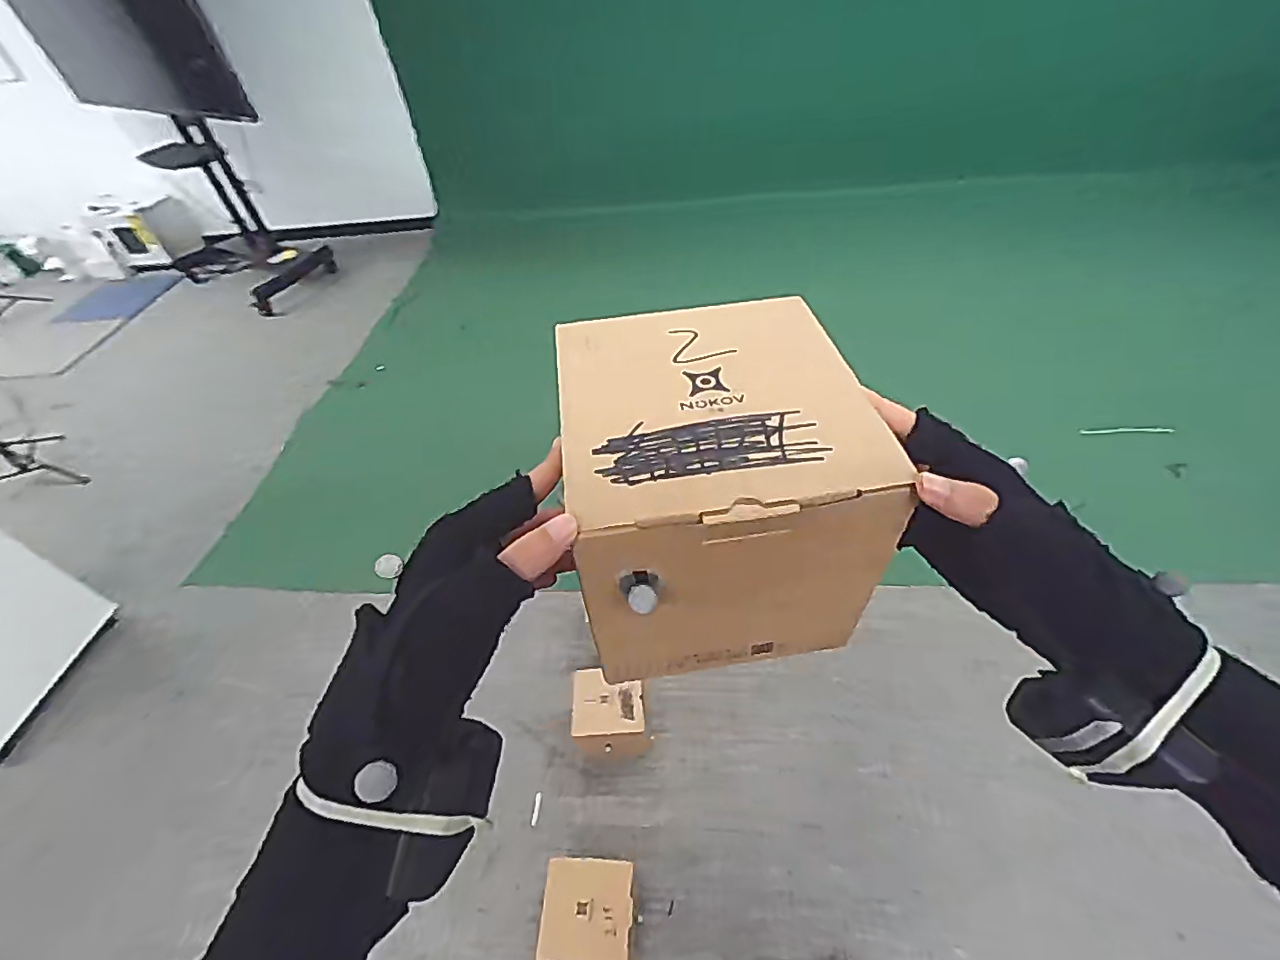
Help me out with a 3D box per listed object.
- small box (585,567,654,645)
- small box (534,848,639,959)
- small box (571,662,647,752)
[{"bbox_3d":[-0.055,0.372,1.587,0.179,0.176,0.168,-1,47,4],"label":"small box"},{"bbox_3d":[-0.099,0.872,1.106,0.179,0.176,0.168,0,47,5],"label":"small box"},{"bbox_3d":[-0.073,0.583,1.385,0.179,0.176,0.168,-5,46,2],"label":"small box"}]
